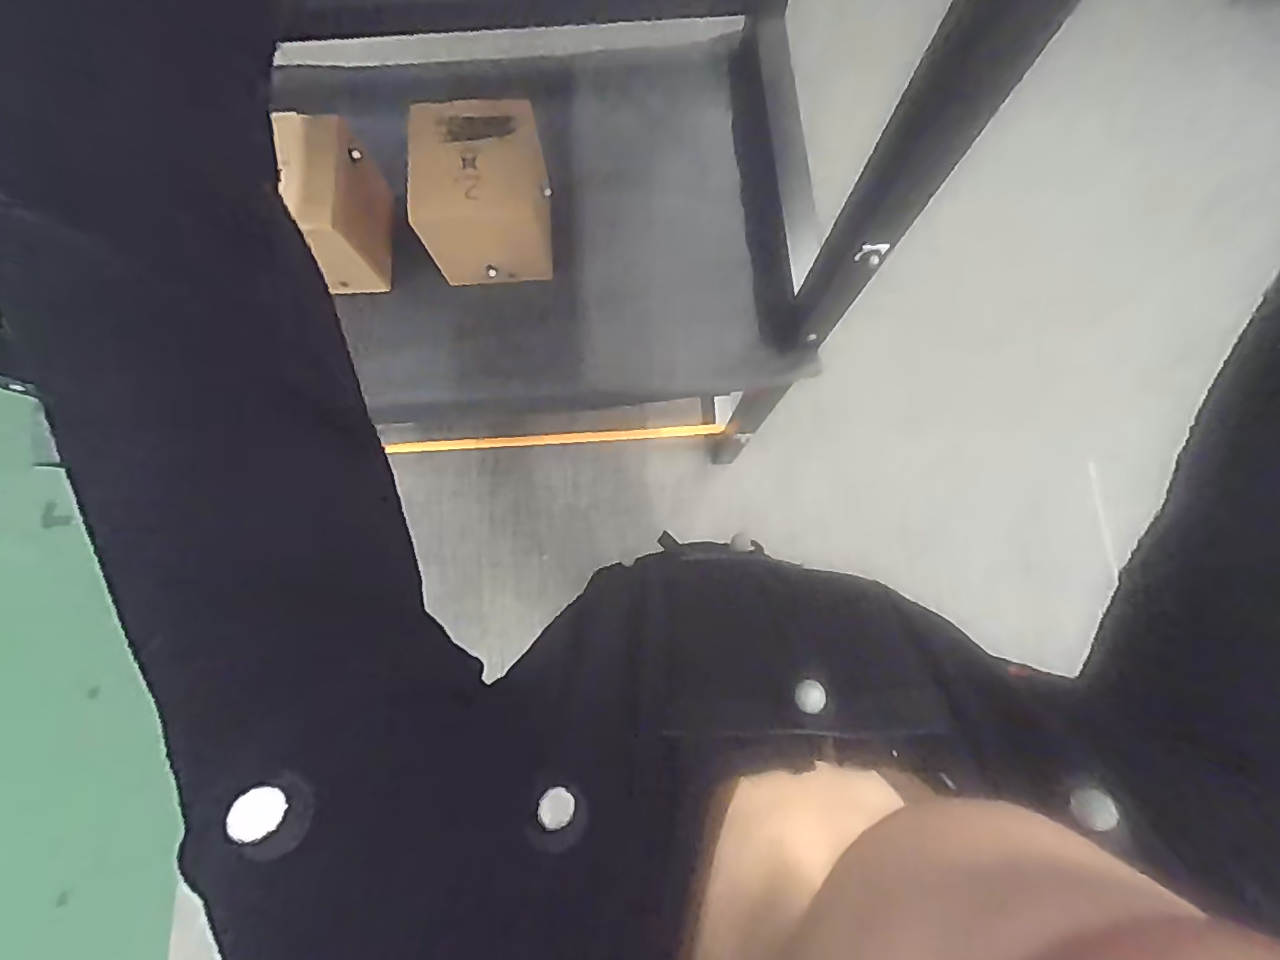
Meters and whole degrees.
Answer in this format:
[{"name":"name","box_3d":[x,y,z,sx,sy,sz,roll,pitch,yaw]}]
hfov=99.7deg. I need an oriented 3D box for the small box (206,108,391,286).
[{"name":"small box","box_3d":[-0.486,-0.401,0.795,0.168,0.176,0.179,-3,80,0]}]
